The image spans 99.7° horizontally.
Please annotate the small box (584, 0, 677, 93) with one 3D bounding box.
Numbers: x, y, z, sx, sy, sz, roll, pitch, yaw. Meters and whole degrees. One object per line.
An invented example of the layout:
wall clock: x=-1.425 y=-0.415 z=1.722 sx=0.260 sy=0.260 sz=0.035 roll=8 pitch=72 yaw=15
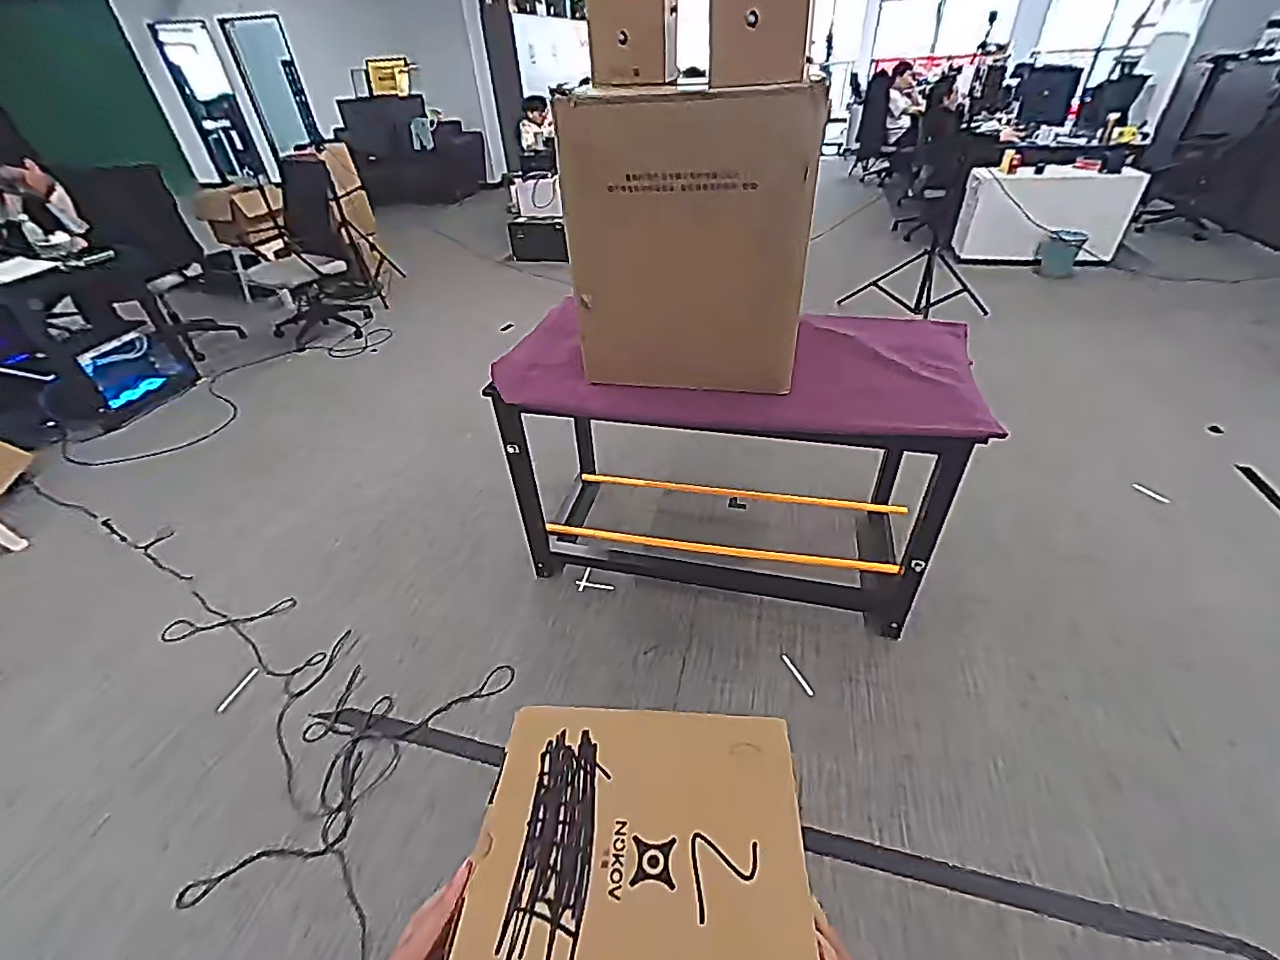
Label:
small box: x=-0.012 y=-0.957 z=1.188 sx=0.168 sy=0.176 sz=0.179 roll=7 pitch=40 yaw=11
